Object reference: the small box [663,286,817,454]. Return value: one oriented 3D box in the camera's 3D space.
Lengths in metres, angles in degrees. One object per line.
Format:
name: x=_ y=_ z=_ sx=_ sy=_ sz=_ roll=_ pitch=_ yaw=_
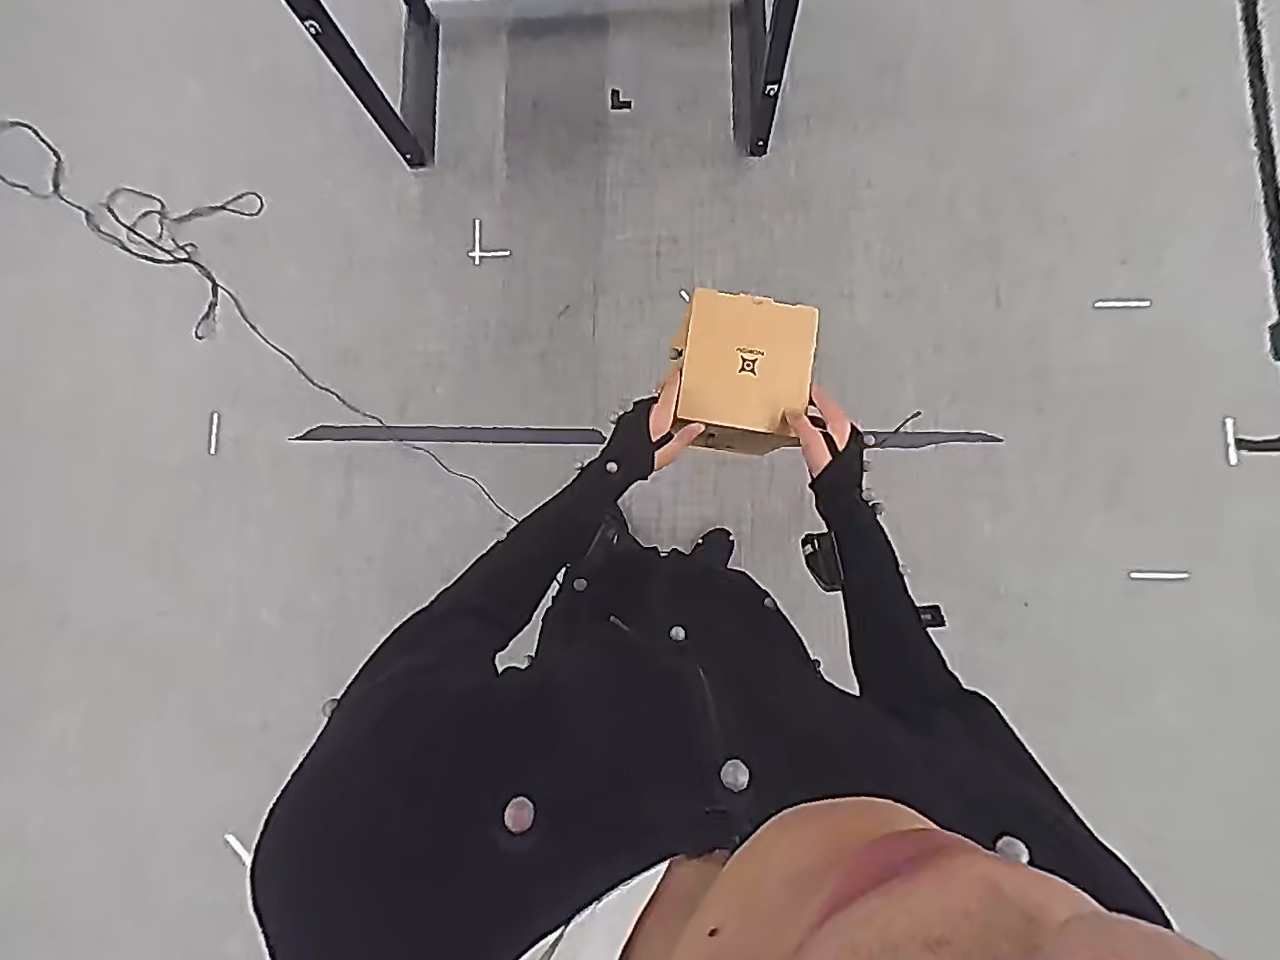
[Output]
small box: x=0.129 y=-0.141 z=0.757 sx=0.168 sy=0.176 sz=0.179 roll=9 pitch=82 yaw=-3
